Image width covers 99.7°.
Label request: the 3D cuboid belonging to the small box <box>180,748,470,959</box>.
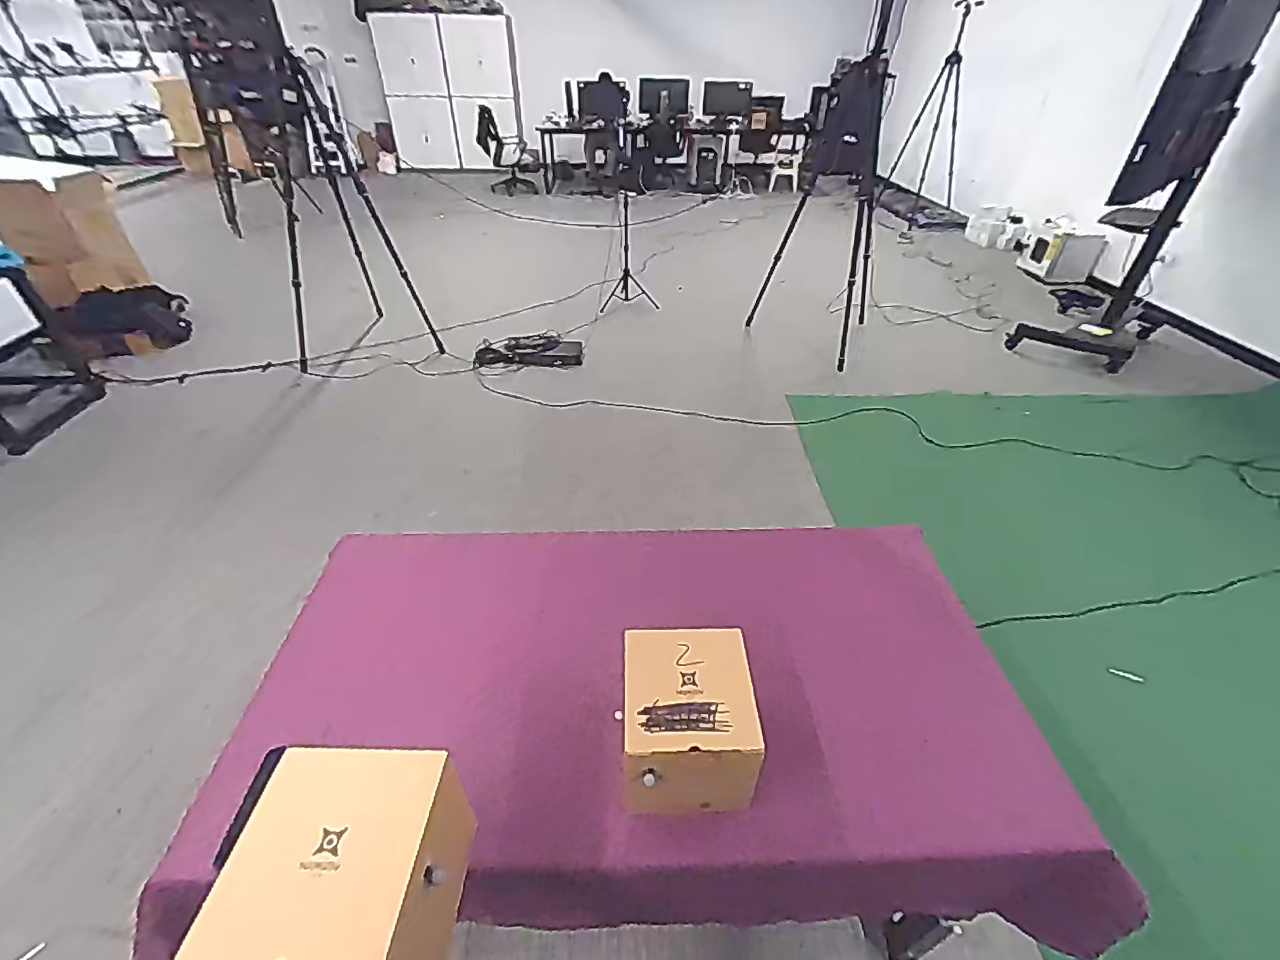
[{"bbox_3d":[-0.277,0.394,0.532,0.168,0.176,0.179,1,38,1],"label":"small box"}]
